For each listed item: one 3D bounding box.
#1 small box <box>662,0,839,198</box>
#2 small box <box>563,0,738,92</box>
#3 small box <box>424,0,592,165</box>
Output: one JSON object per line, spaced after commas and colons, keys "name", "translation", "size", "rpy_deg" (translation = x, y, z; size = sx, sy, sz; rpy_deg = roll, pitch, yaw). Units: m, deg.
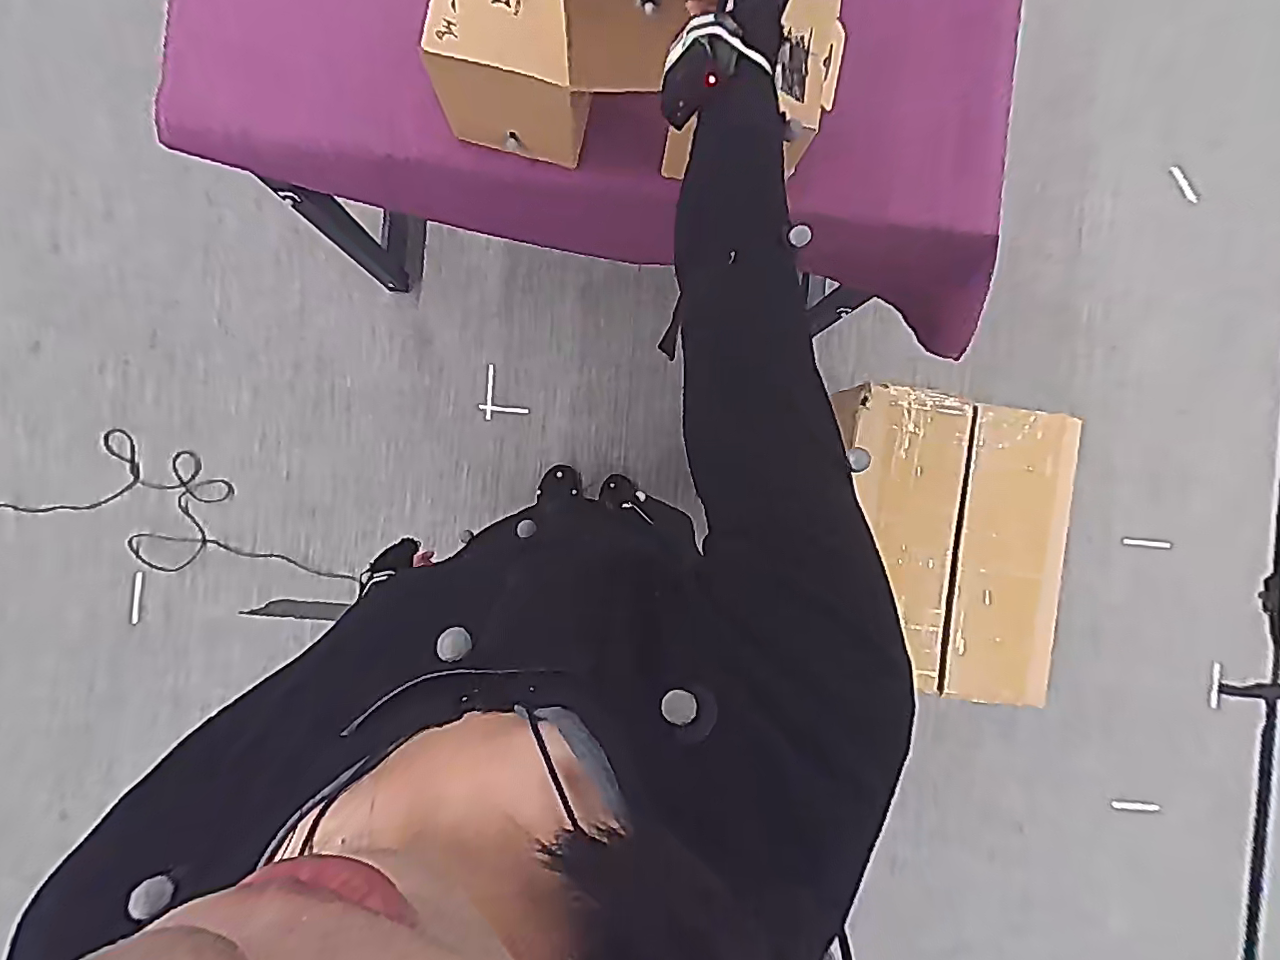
{"name": "small box", "translation": [0.135, -0.509, 0.723], "size": [0.179, 0.176, 0.168], "rpy_deg": [11, 88, -3]}
{"name": "small box", "translation": [0.006, -0.533, 0.551], "size": [0.179, 0.176, 0.168], "rpy_deg": [-4, 91, -5]}
{"name": "small box", "translation": [-0.153, -0.547, 0.703], "size": [0.179, 0.176, 0.168], "rpy_deg": [12, 88, -5]}
